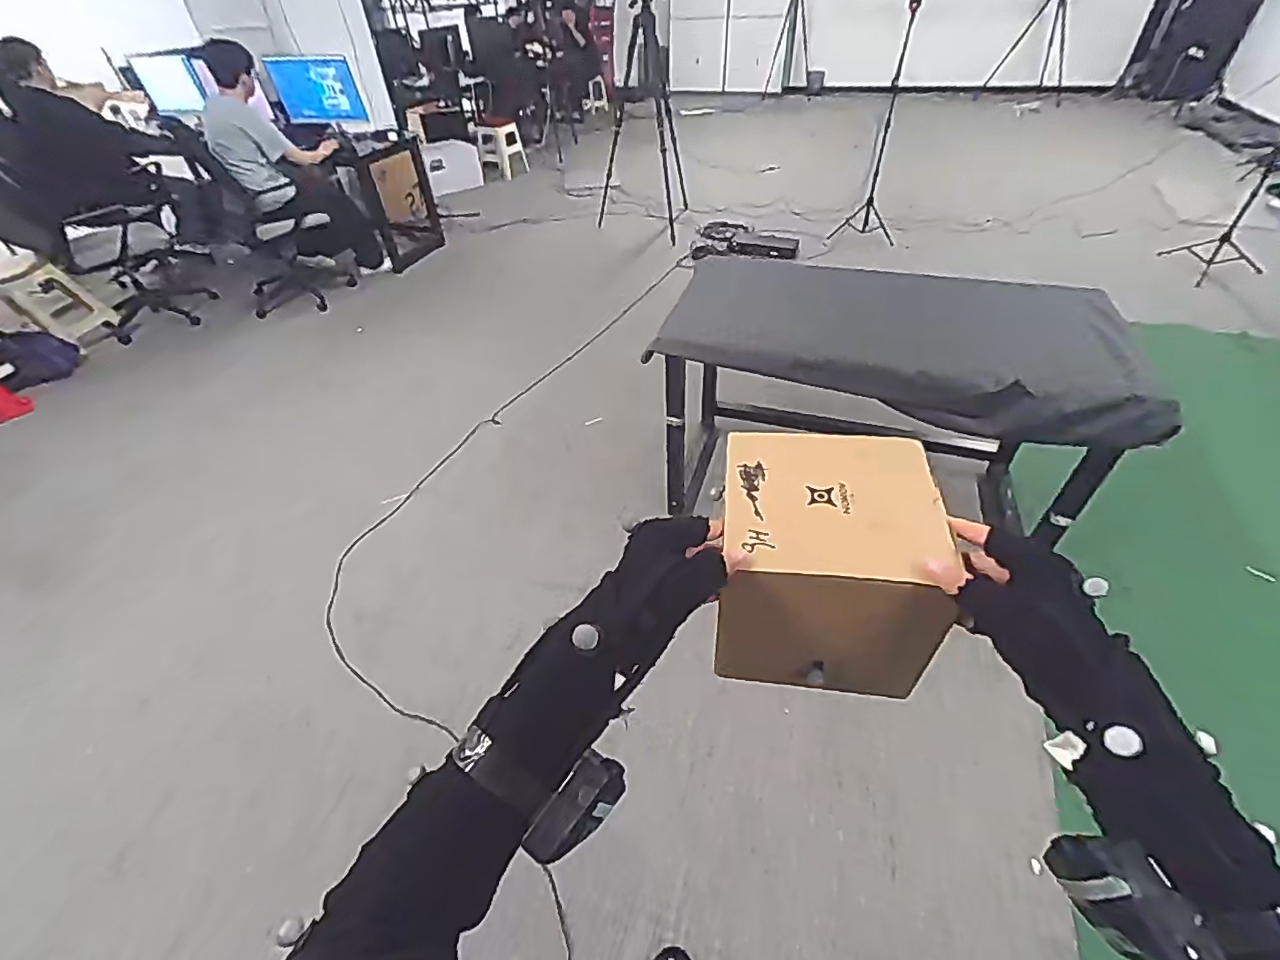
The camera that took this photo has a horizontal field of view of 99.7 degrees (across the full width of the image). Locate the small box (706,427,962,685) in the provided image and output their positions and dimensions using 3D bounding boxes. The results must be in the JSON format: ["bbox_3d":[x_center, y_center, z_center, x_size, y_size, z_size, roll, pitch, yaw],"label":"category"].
[{"bbox_3d":[0.160,0.072,0.507,0.179,0.176,0.168,5,43,8],"label":"small box"}]
